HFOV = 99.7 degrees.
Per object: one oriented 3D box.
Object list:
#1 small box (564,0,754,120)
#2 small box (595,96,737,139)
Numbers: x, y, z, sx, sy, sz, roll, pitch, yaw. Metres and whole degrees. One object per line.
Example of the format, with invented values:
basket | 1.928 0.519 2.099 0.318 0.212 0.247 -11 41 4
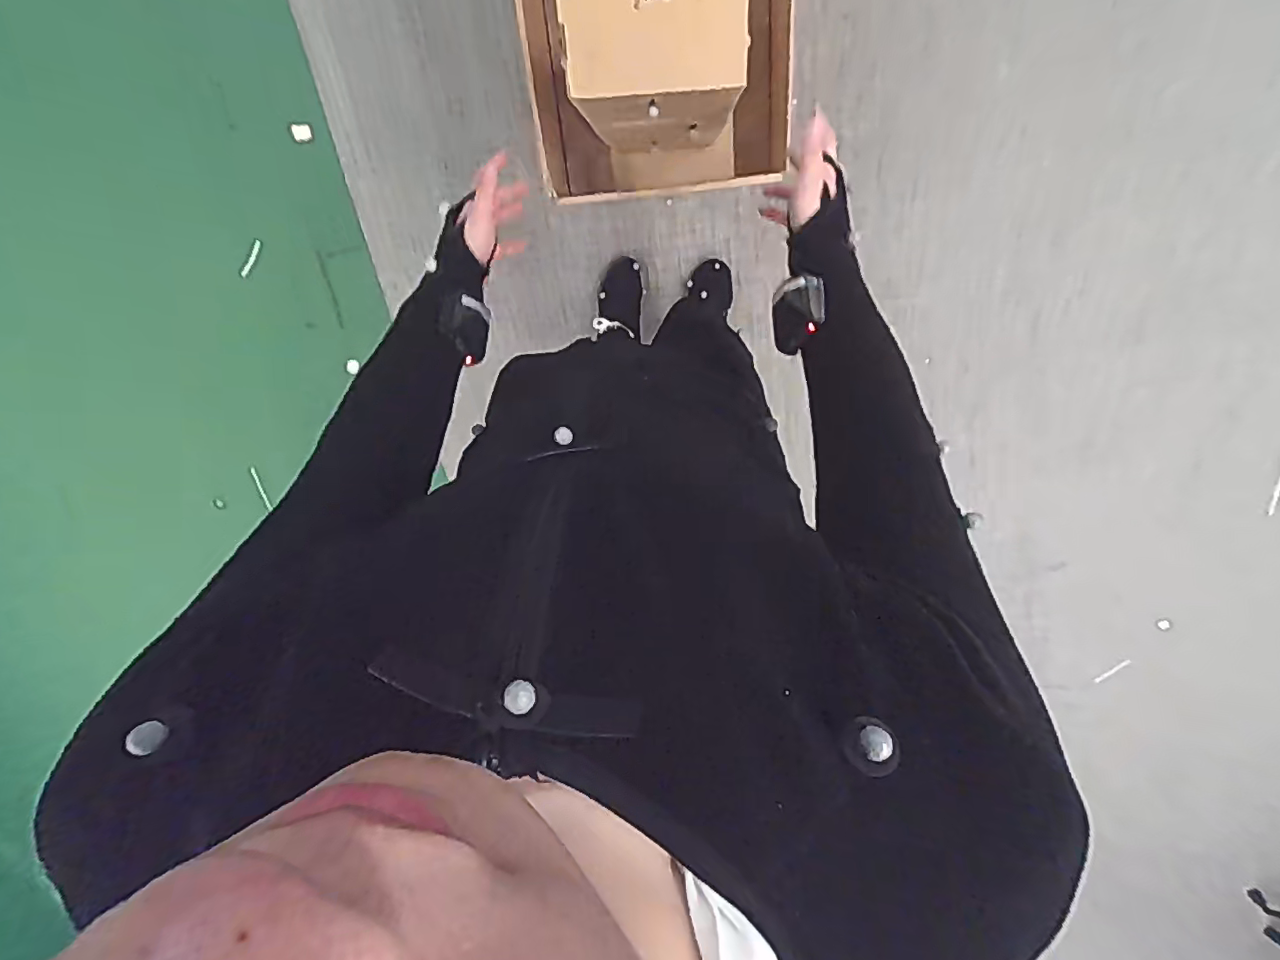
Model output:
small box | 0.020 -0.482 0.556 0.179 0.176 0.168 -1 117 3
small box | 0.031 -0.553 0.703 0.179 0.176 0.168 -1 115 4
